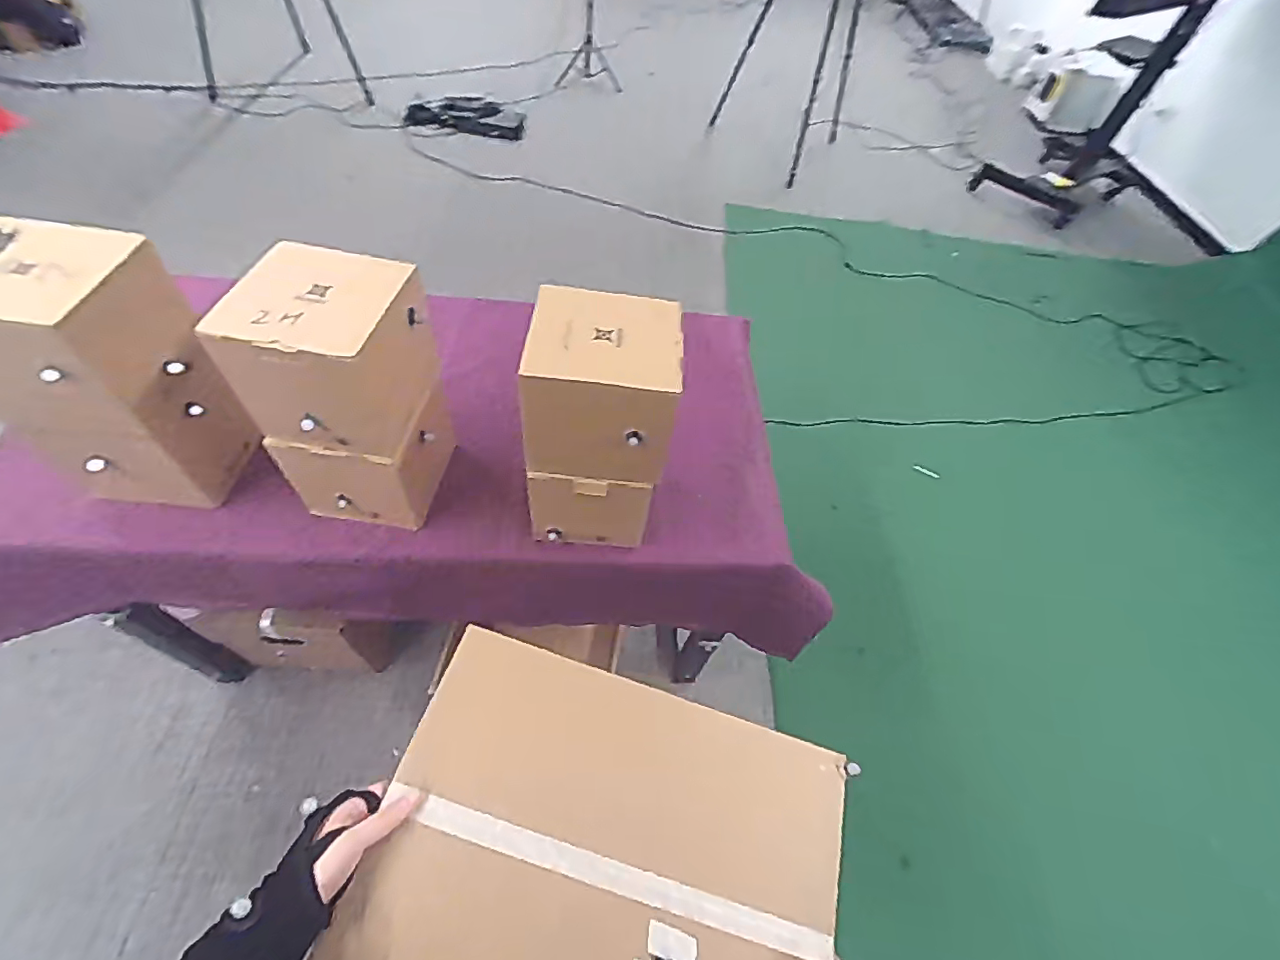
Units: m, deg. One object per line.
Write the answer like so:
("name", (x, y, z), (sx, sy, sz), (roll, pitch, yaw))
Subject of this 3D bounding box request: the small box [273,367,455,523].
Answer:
("small box", (-0.383, -0.062, 0.795), (0.168, 0.176, 0.179), (9, 55, -1))

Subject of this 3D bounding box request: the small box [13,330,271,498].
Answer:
("small box", (-0.679, -0.088, 0.768), (0.179, 0.176, 0.168), (5, 55, -4))

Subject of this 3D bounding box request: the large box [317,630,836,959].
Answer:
("large box", (-0.052, 0.409, 0.596), (0.408, 0.320, 0.320), (18, 58, 1))

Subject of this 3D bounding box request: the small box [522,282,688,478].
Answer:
("small box", (-0.042, -0.119, 0.680), (0.179, 0.176, 0.168), (6, 54, -3))

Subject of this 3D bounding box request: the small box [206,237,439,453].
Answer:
("small box", (-0.362, -0.161, 0.665), (0.168, 0.176, 0.179), (10, 55, 0))

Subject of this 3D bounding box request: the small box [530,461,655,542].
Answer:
("small box", (-0.065, -0.023, 0.811), (0.168, 0.176, 0.179), (6, 53, -4))
